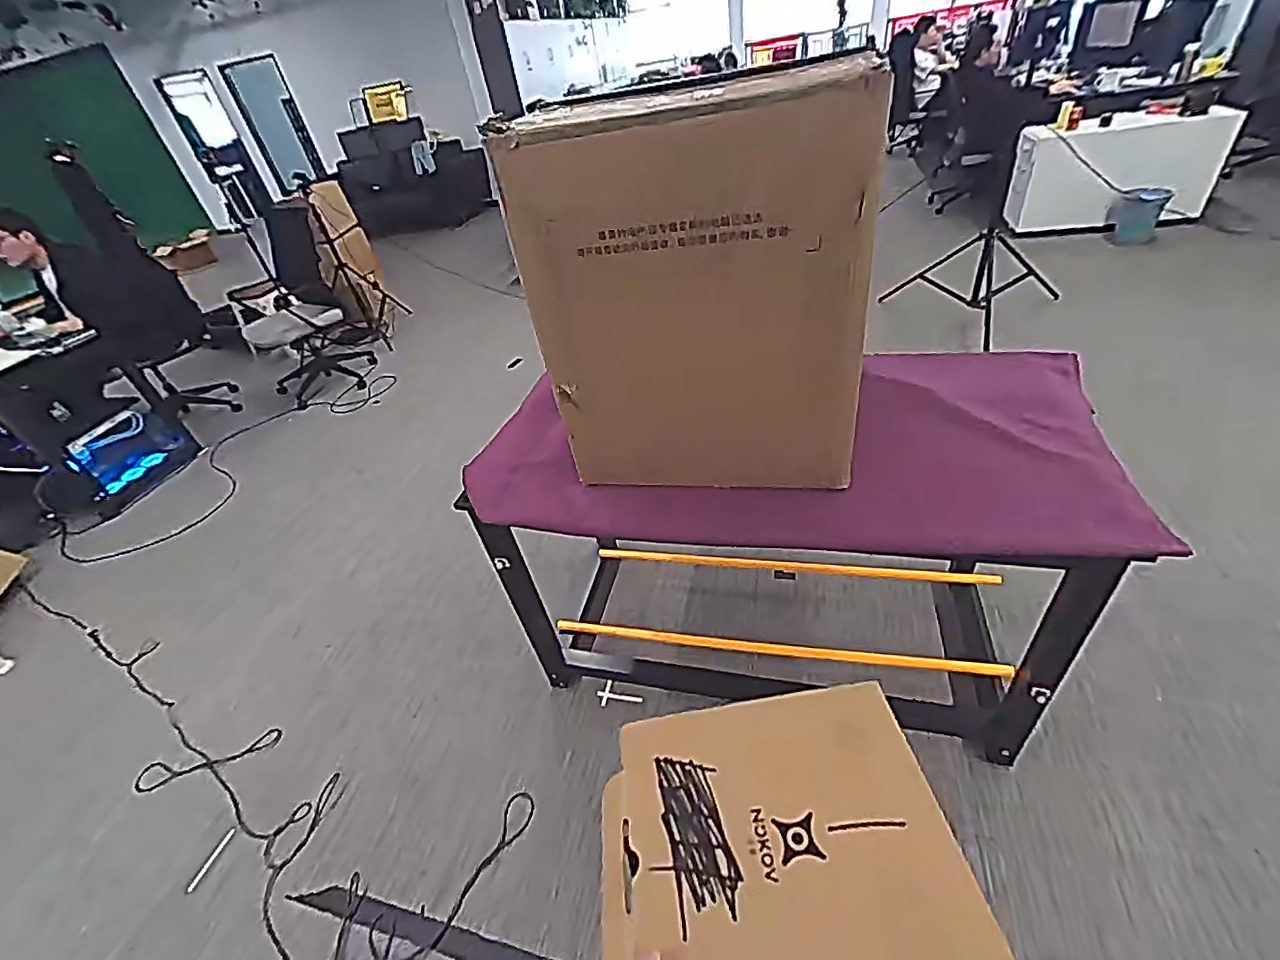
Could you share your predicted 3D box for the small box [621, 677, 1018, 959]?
[{"bbox_3d":[0.092,0.255,0.336,0.179,0.176,0.168,-11,34,3],"label":"small box"}]
